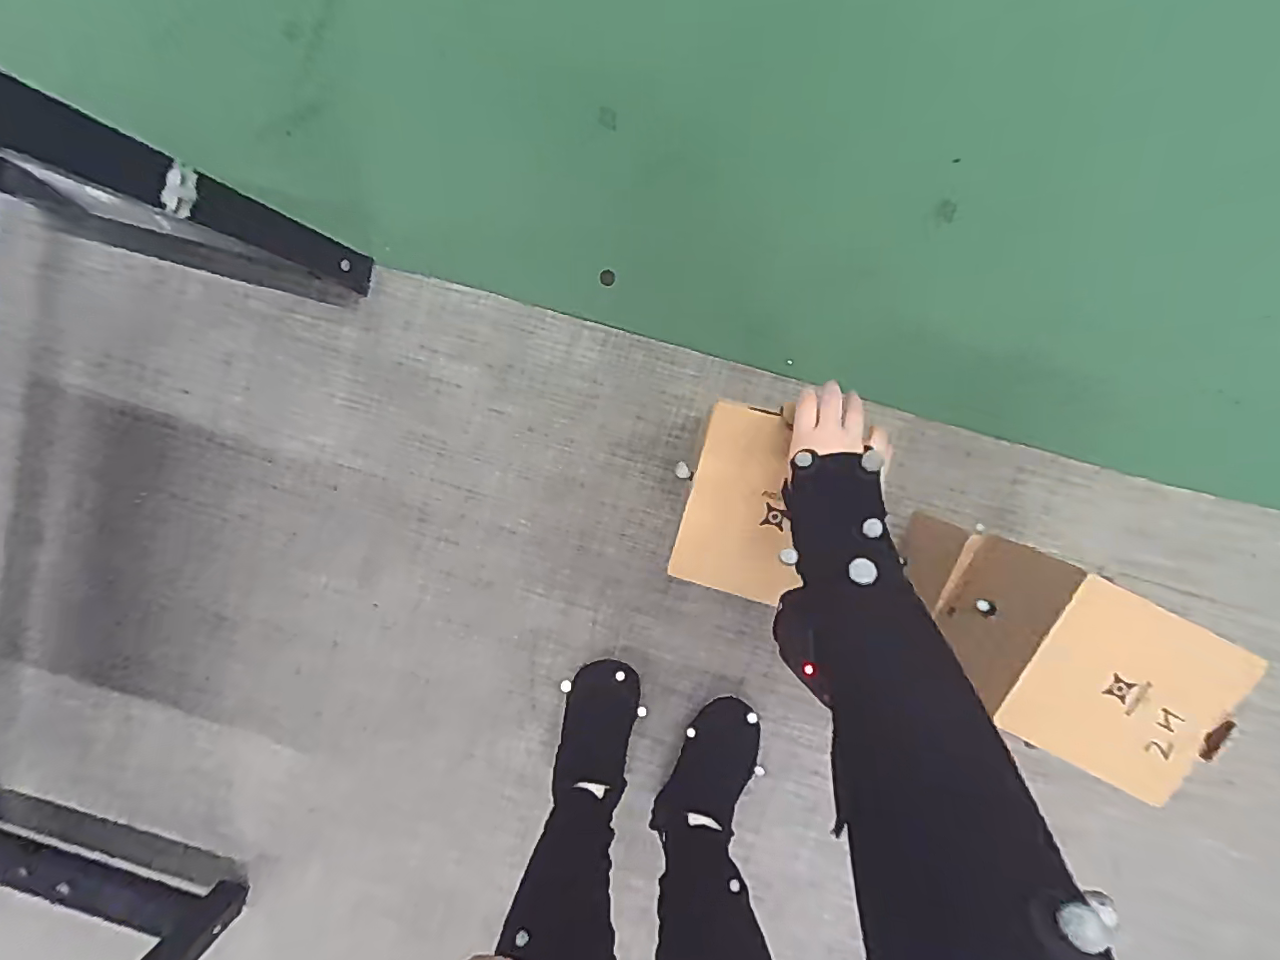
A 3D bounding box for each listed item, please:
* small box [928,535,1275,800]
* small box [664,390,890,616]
[{"bbox_3d":[0.440,0.171,0.556,0.179,0.176,0.168,27,99,2],"label":"small box"},{"bbox_3d":[0.130,0.014,0.570,0.168,0.176,0.179,15,97,4],"label":"small box"}]
